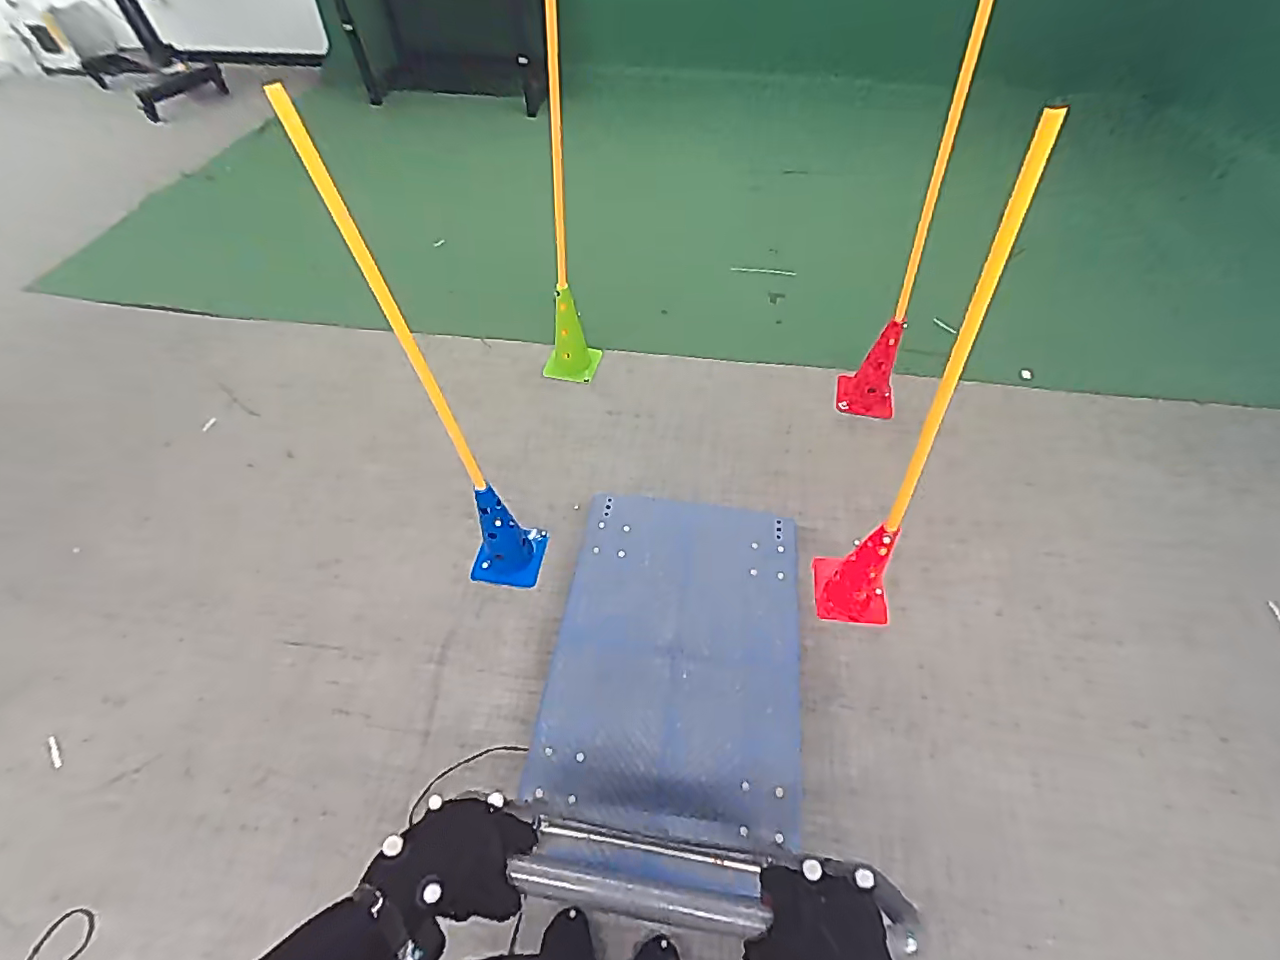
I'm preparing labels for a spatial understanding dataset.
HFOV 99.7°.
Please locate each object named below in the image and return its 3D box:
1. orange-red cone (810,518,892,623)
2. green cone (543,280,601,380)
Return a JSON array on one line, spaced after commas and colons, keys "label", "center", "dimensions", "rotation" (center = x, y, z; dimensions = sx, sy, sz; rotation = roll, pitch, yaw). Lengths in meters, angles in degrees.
[{"label": "orange-red cone", "center": [0.596, 0.215, 1.449], "dimensions": [0.199, 0.360, 0.198], "rotation": [5, 53, 6]}, {"label": "green cone", "center": [-0.274, -0.584, 2.039], "dimensions": [0.202, 0.368, 0.200], "rotation": [10, 54, 9]}]
